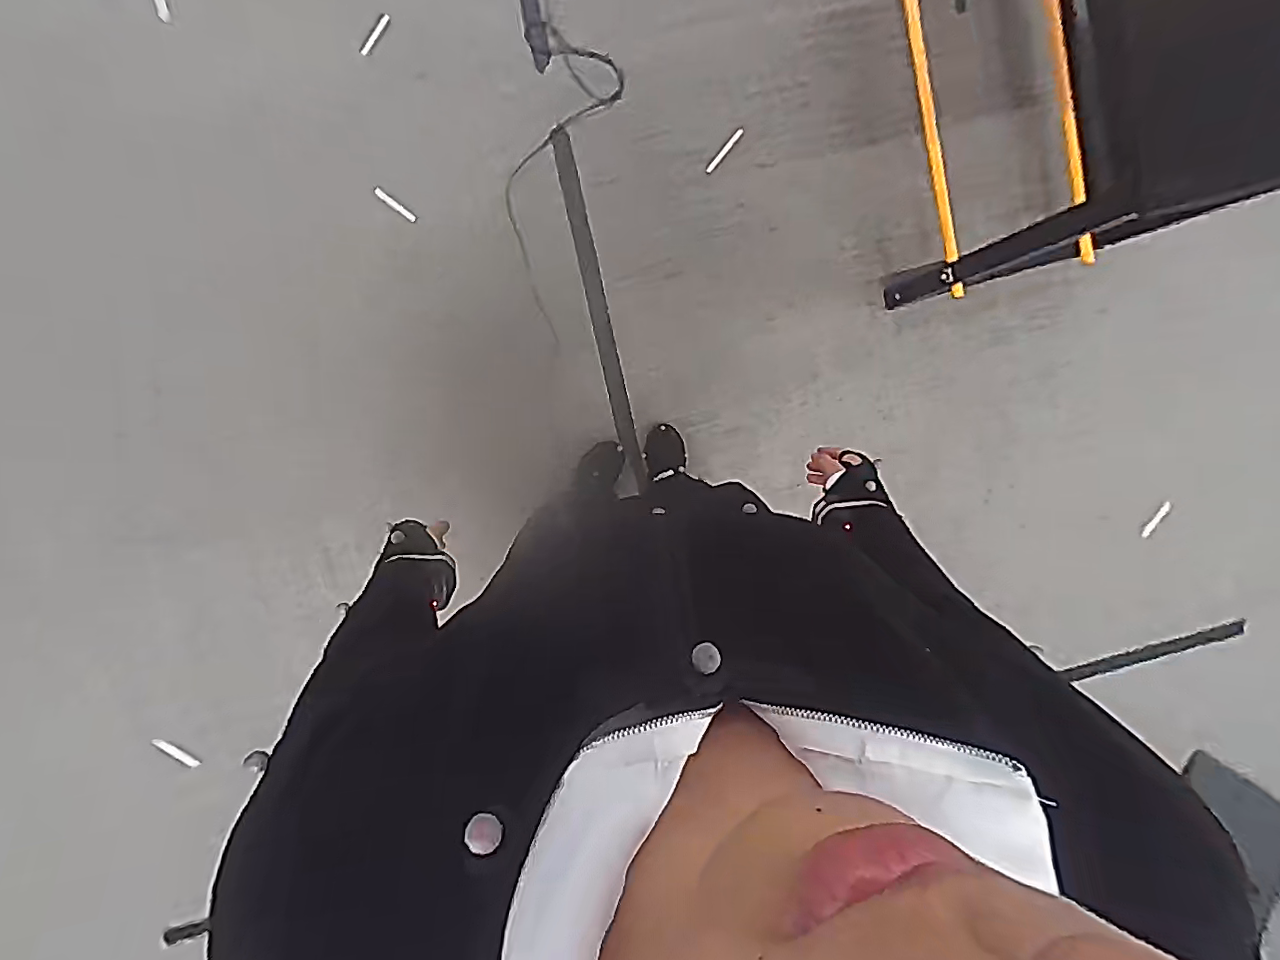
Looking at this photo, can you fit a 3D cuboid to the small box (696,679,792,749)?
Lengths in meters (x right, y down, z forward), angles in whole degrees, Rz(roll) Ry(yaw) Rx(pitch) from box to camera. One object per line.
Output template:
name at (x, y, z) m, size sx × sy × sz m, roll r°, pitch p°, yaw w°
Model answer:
small box at (0.226, 0.549, 1.158) m, size 0.168 × 0.176 × 0.179 m, roll -13°, pitch 97°, yaw -3°

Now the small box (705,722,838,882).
small box at (0.234, 0.578, 0.995) m, size 0.179 × 0.176 × 0.168 m, roll -14°, pitch 97°, yaw -3°

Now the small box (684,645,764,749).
small box at (0.213, 0.533, 1.321) m, size 0.168 × 0.176 × 0.179 m, roll -13°, pitch 97°, yaw -4°
